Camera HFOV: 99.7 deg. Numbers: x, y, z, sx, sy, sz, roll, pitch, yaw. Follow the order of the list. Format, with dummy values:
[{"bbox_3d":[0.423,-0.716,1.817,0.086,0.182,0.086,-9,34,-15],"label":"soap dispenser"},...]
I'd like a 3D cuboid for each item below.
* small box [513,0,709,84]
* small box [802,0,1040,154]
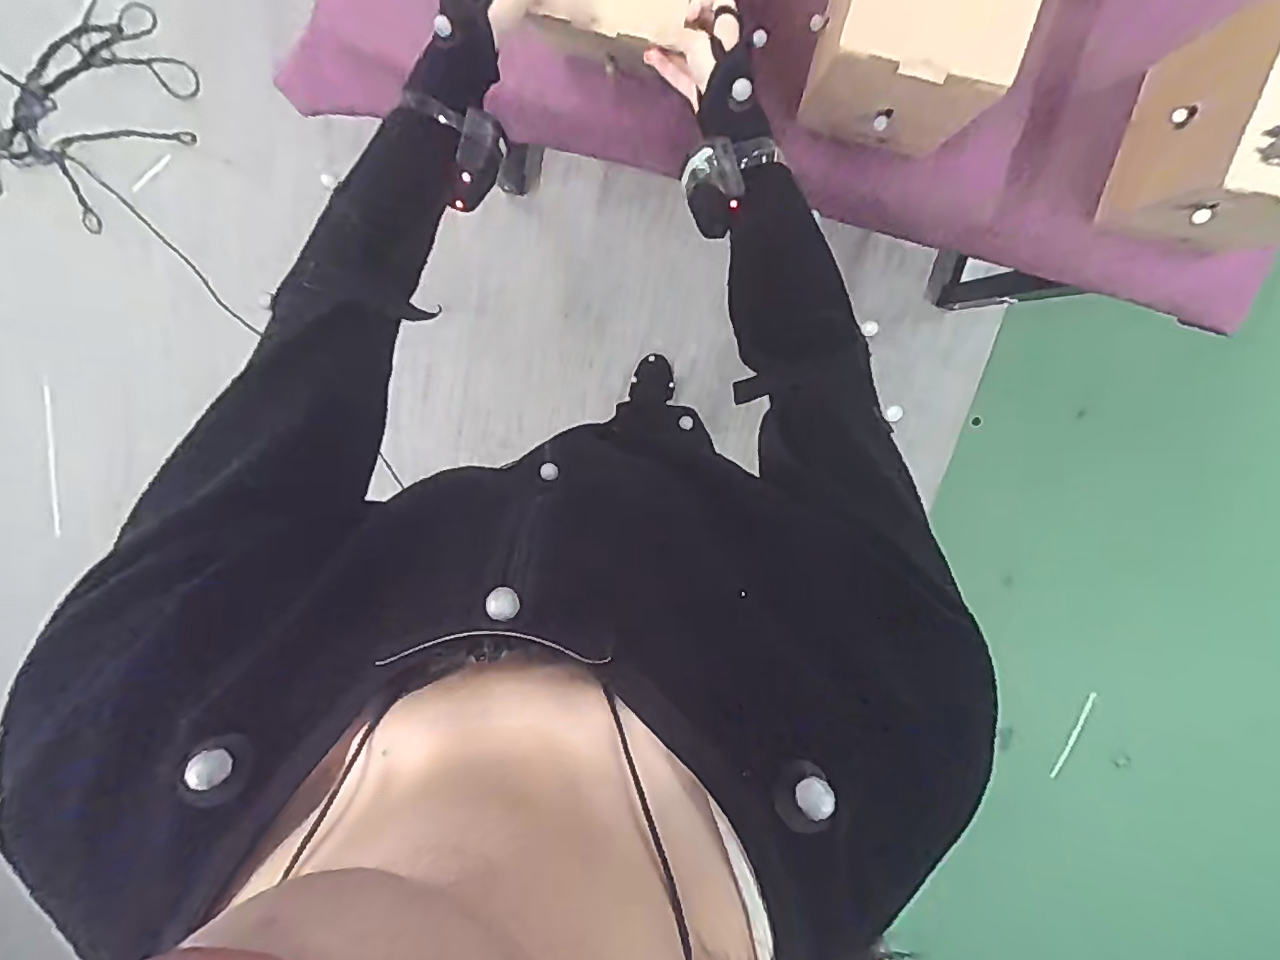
[{"bbox_3d":[-0.012,-0.528,0.533,0.168,0.176,0.179,15,118,2],"label":"small box"},{"bbox_3d":[0.281,-0.469,0.555,0.168,0.176,0.179,14,103,-1],"label":"small box"}]
